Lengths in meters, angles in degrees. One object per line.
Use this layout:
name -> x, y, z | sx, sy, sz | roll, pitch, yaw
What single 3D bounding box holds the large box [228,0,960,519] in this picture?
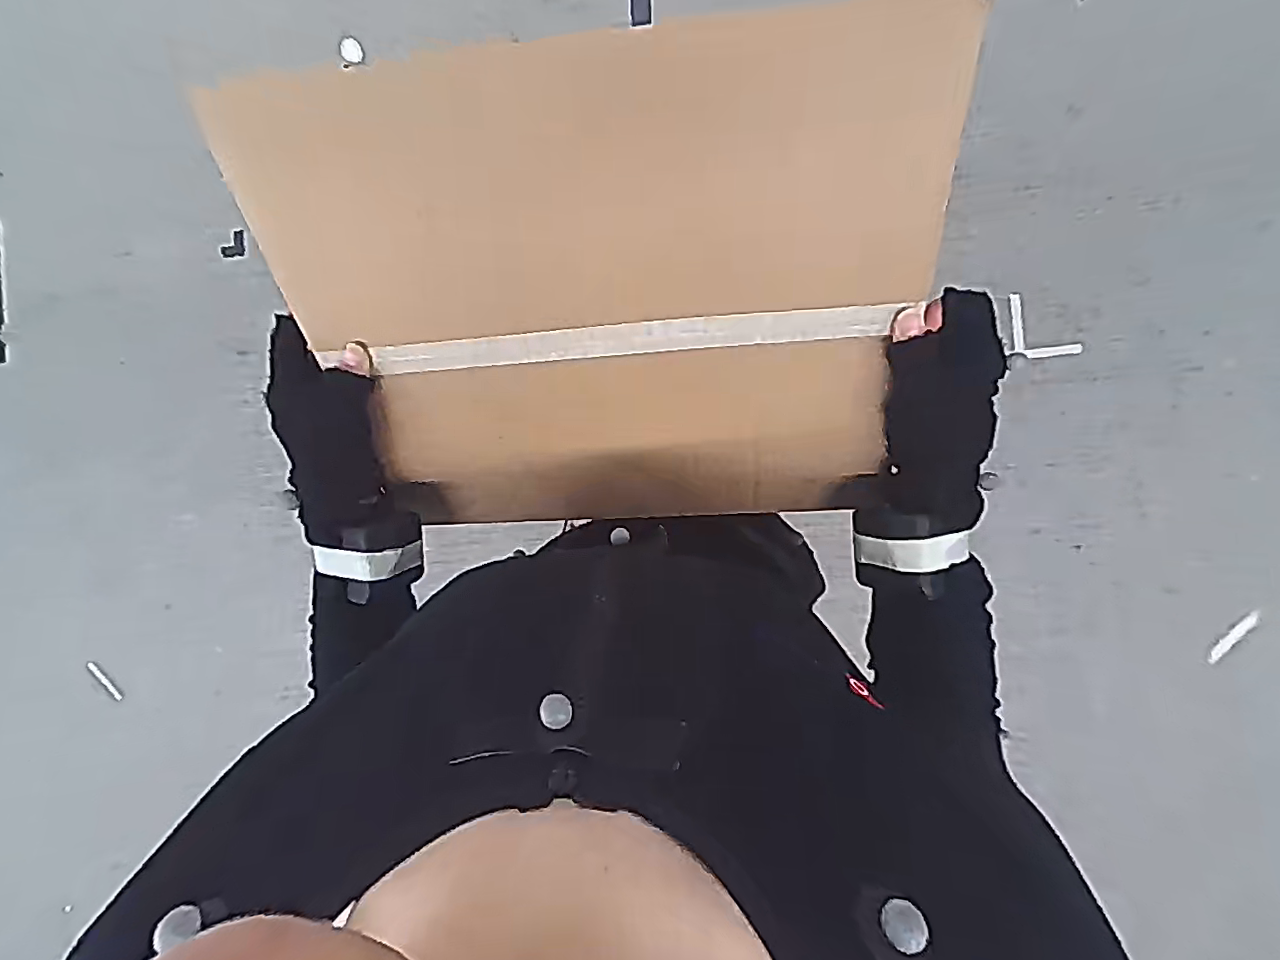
large box -> -0.016, -0.187, 0.489 | 0.408, 0.320, 0.320 | -3, 128, 7
